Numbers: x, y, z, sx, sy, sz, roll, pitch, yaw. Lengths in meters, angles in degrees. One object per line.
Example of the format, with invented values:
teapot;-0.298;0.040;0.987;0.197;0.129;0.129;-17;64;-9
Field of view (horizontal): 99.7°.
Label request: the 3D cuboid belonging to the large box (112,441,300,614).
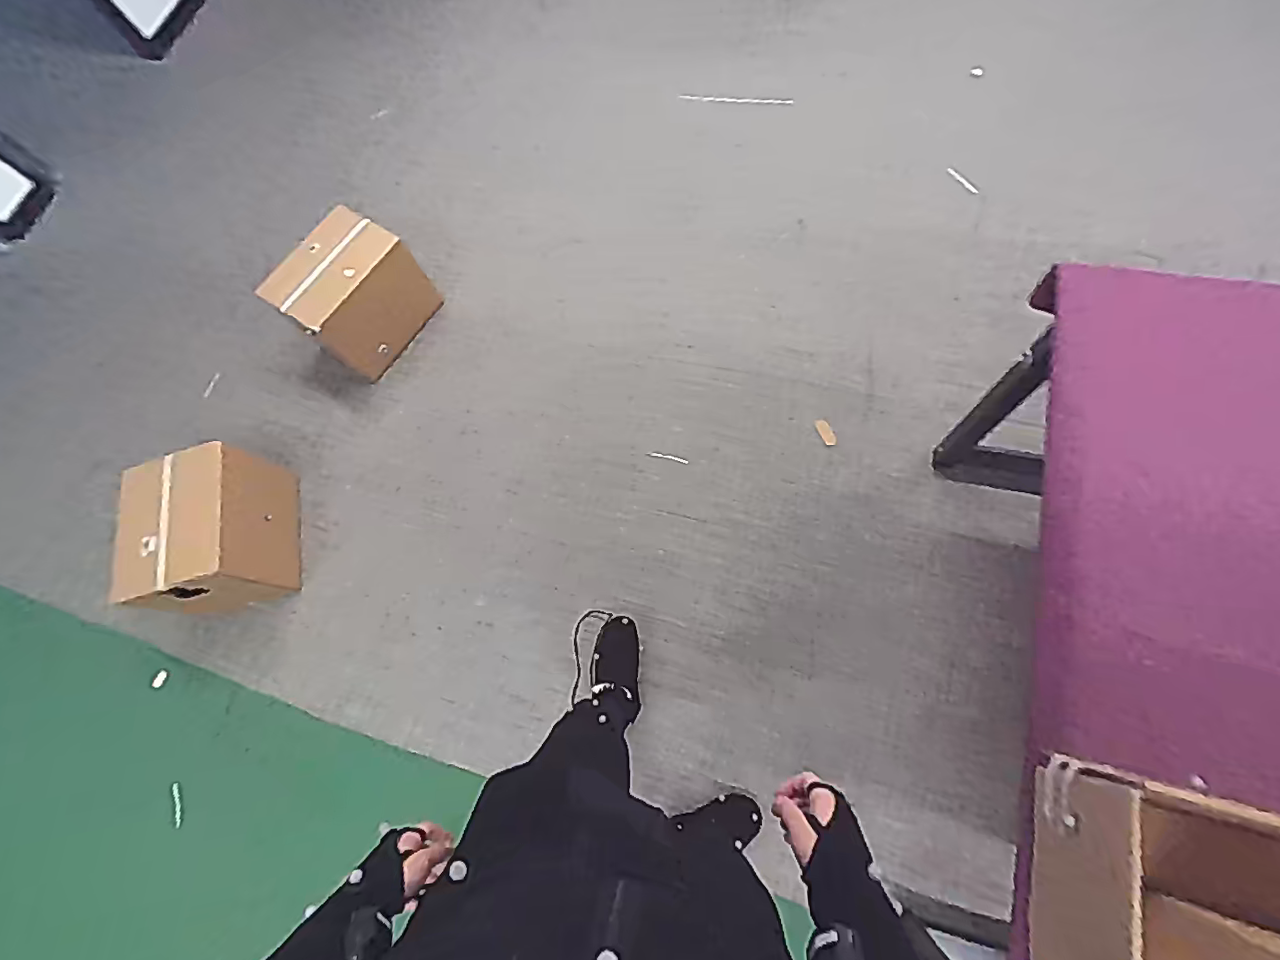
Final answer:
large box;-1.275;0.154;1.620;0.320;0.320;0.408;-17;70;2
